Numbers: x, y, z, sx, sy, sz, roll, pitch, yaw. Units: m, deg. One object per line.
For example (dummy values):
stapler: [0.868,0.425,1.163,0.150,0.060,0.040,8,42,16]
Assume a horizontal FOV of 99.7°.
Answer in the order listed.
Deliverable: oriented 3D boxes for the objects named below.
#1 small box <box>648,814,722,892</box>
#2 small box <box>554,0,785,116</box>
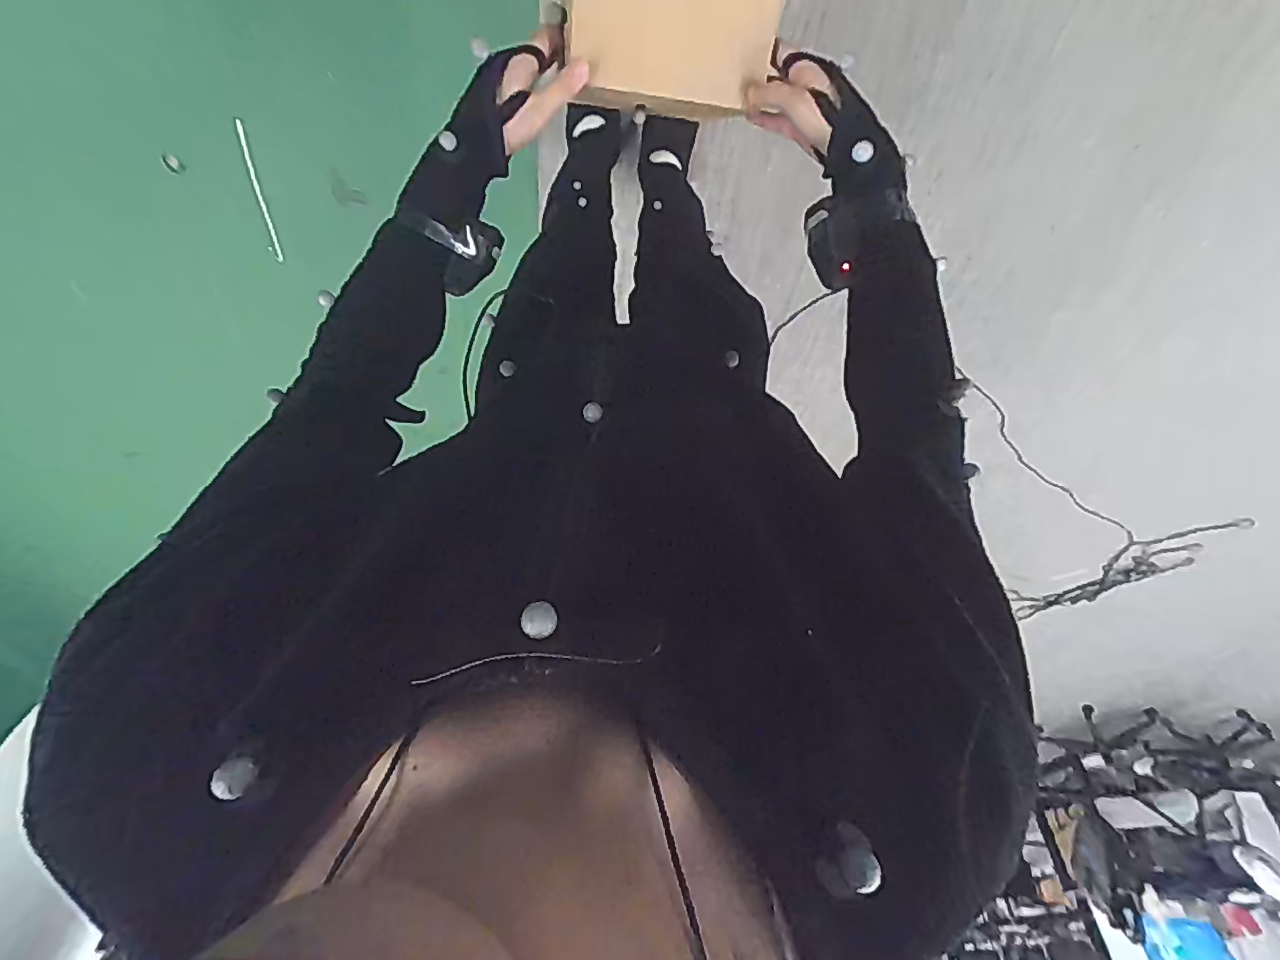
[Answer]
small box: [0.125,1.082,1.569,0.179,0.176,0.168,9,137,-7]
small box: [0.019,-0.429,0.464,0.168,0.176,0.179,-2,121,-15]
